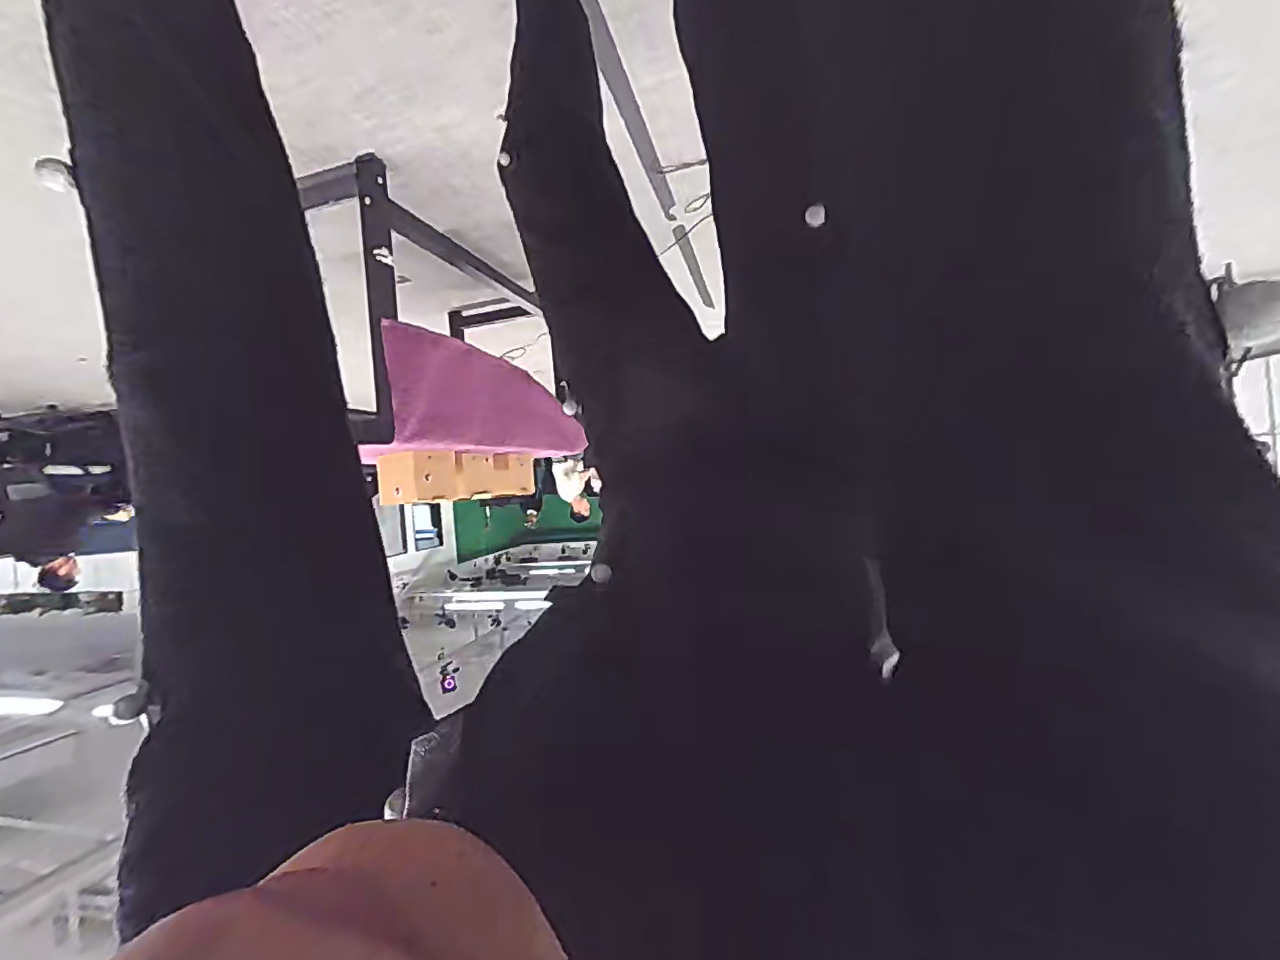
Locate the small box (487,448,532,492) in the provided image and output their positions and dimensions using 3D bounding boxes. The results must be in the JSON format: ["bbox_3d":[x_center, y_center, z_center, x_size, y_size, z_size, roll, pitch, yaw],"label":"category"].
[{"bbox_3d":[-0.574,-0.039,2.271,0.179,0.176,0.168,-5,-179,23],"label":"small box"}]

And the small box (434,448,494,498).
[{"bbox_3d":[-0.668,-0.029,2.005,0.179,0.176,0.168,-4,-179,25],"label":"small box"}]

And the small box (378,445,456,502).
[{"bbox_3d":[-0.725,-0.023,1.748,0.179,0.176,0.168,-4,-179,27],"label":"small box"}]
